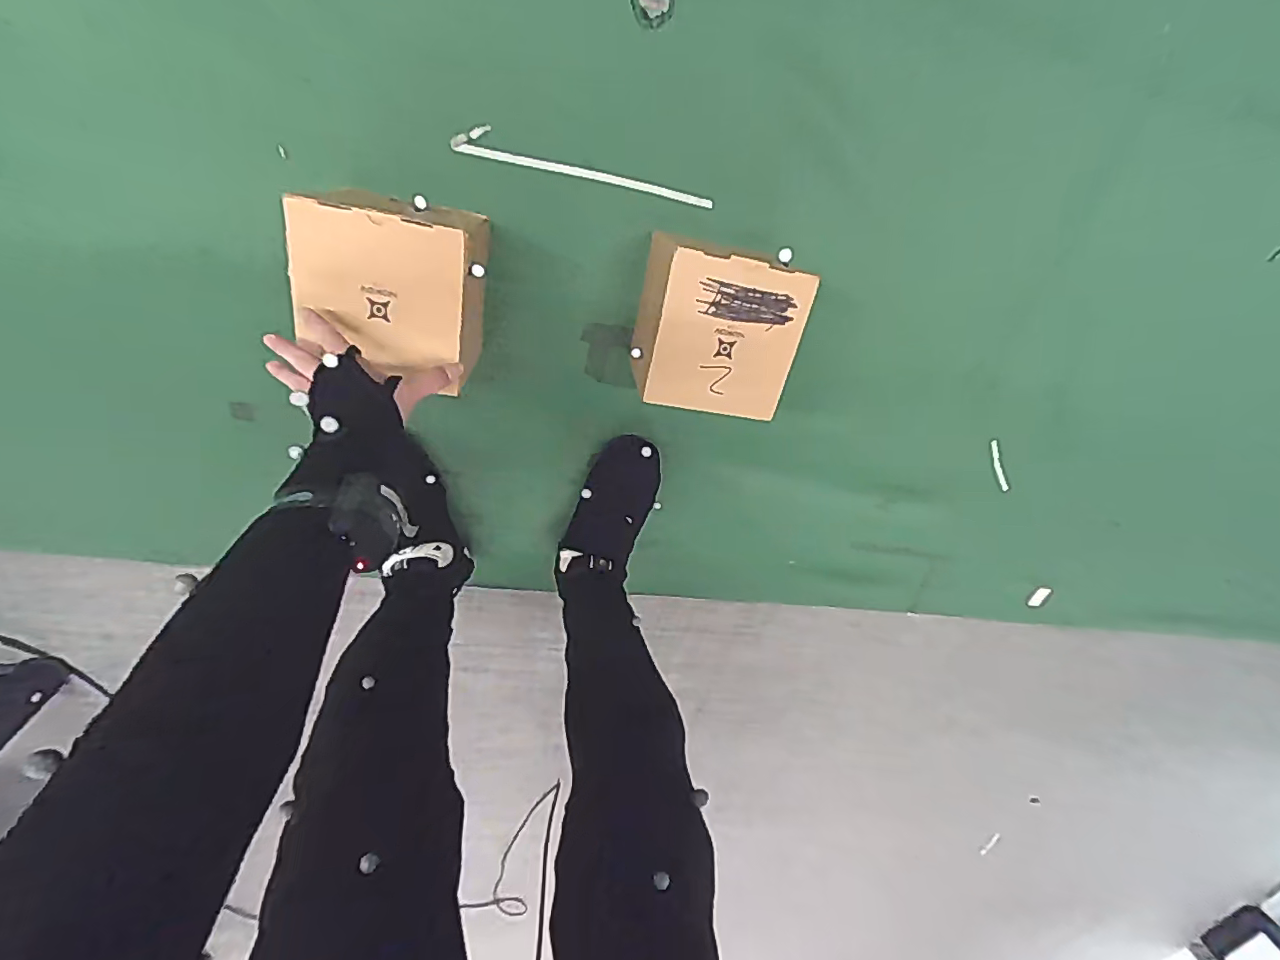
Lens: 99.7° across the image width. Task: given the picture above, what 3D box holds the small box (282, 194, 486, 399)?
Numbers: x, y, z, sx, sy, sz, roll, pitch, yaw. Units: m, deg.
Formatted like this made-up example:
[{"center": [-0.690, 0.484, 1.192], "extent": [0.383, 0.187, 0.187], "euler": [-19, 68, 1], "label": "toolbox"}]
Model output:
[{"center": [-0.276, -0.214, 0.621], "extent": [0.168, 0.176, 0.179], "euler": [7, 117, -10], "label": "small box"}]
